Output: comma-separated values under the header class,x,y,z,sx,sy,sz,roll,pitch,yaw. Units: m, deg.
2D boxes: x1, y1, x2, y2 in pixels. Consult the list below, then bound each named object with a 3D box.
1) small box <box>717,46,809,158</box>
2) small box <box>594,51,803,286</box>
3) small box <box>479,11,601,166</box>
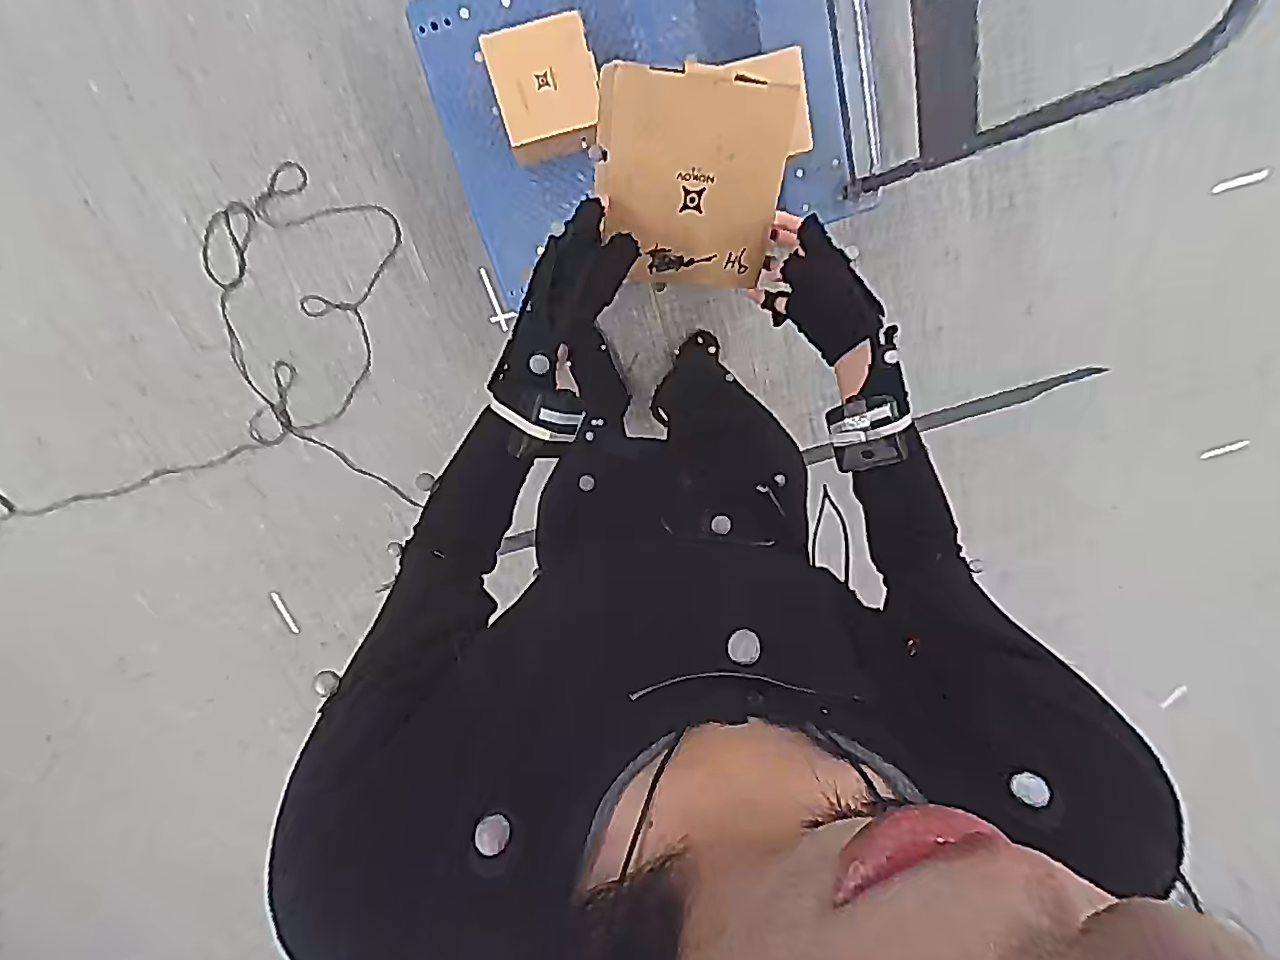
class,x,y,z,sx,sy,sz,roll,pitch,yaw
small box,0.202,-0.687,1.043,0.179,0.176,0.168,-16,110,-2
small box,0.042,-0.320,0.563,0.168,0.176,0.179,1,126,-10
small box,-0.173,-0.703,0.991,0.179,0.176,0.168,-17,109,-1
